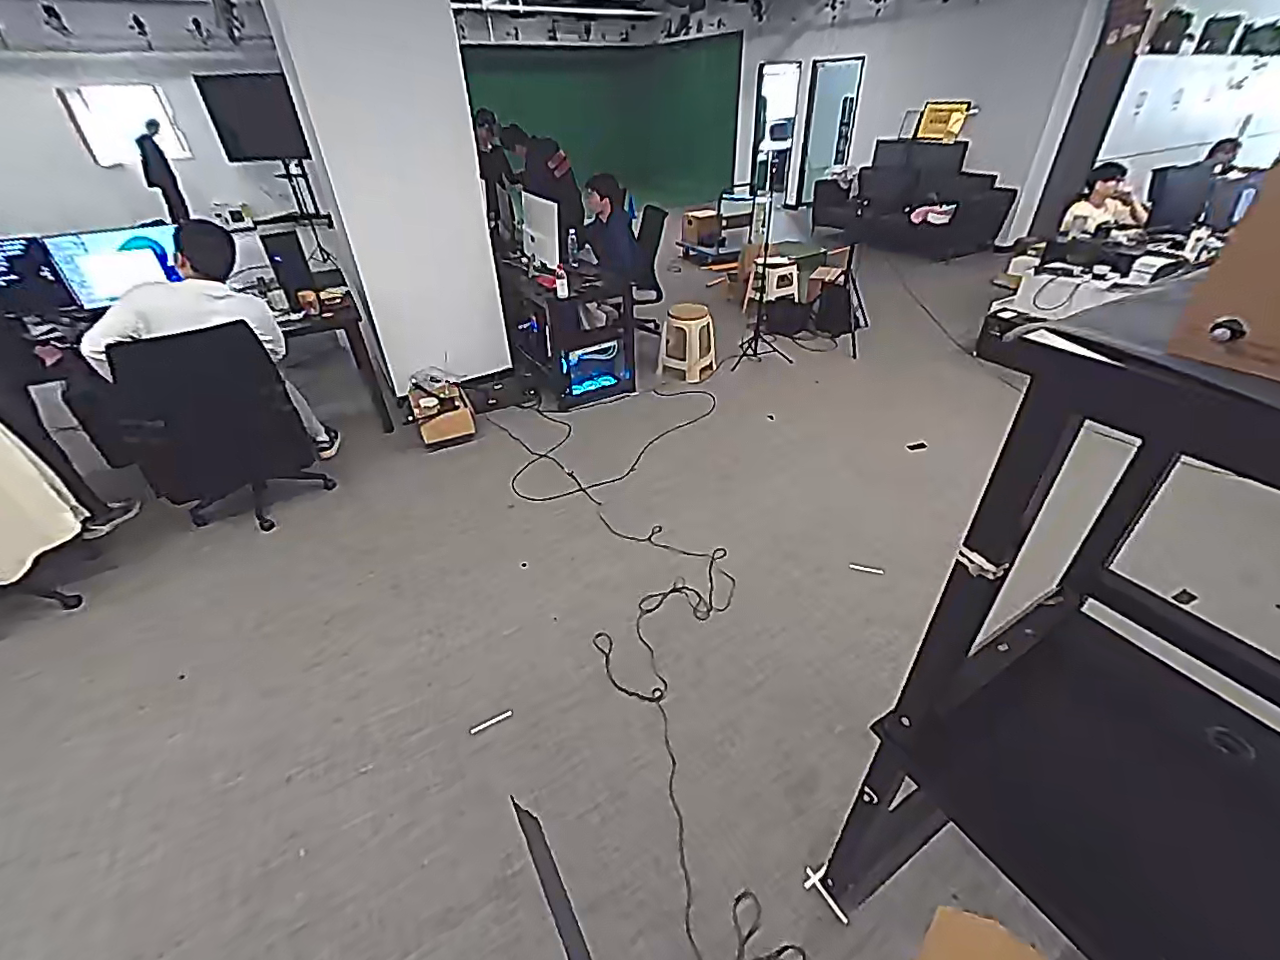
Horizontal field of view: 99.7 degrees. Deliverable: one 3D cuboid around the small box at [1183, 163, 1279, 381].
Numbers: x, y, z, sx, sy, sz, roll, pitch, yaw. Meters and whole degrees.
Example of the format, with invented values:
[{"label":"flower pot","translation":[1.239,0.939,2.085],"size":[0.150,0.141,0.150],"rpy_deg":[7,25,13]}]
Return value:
[{"label":"small box","translation":[0.620,-0.174,0.452],"size":[0.179,0.176,0.168],"rpy_deg":[-21,40,-25]}]
